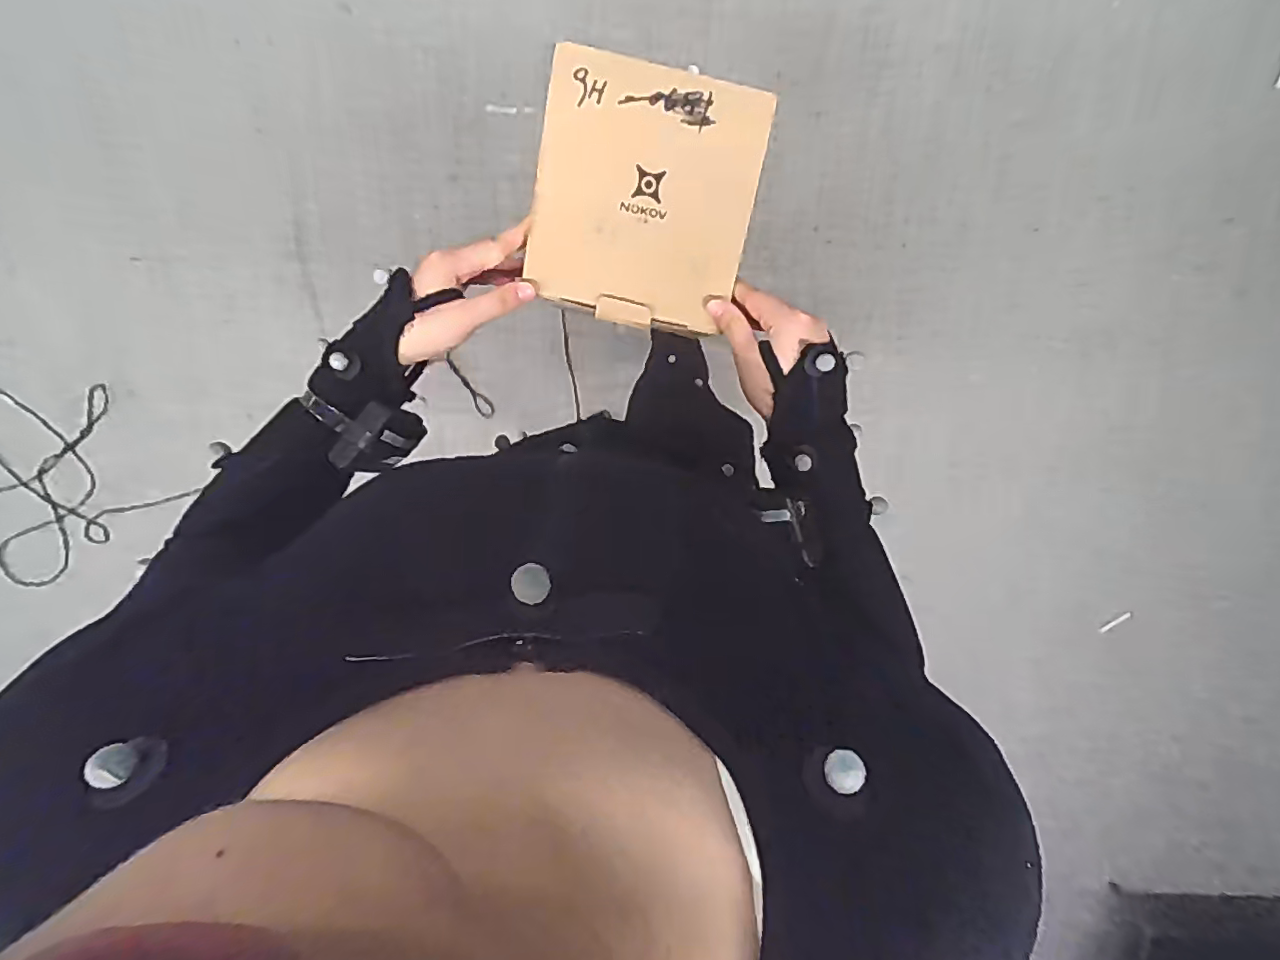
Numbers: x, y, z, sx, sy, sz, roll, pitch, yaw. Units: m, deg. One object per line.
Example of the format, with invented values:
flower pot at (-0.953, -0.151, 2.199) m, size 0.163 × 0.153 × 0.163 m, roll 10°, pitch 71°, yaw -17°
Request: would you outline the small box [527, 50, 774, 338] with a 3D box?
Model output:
small box at (0.003, -0.236, 0.494) m, size 0.168 × 0.176 × 0.179 m, roll 10°, pitch 106°, yaw -5°
